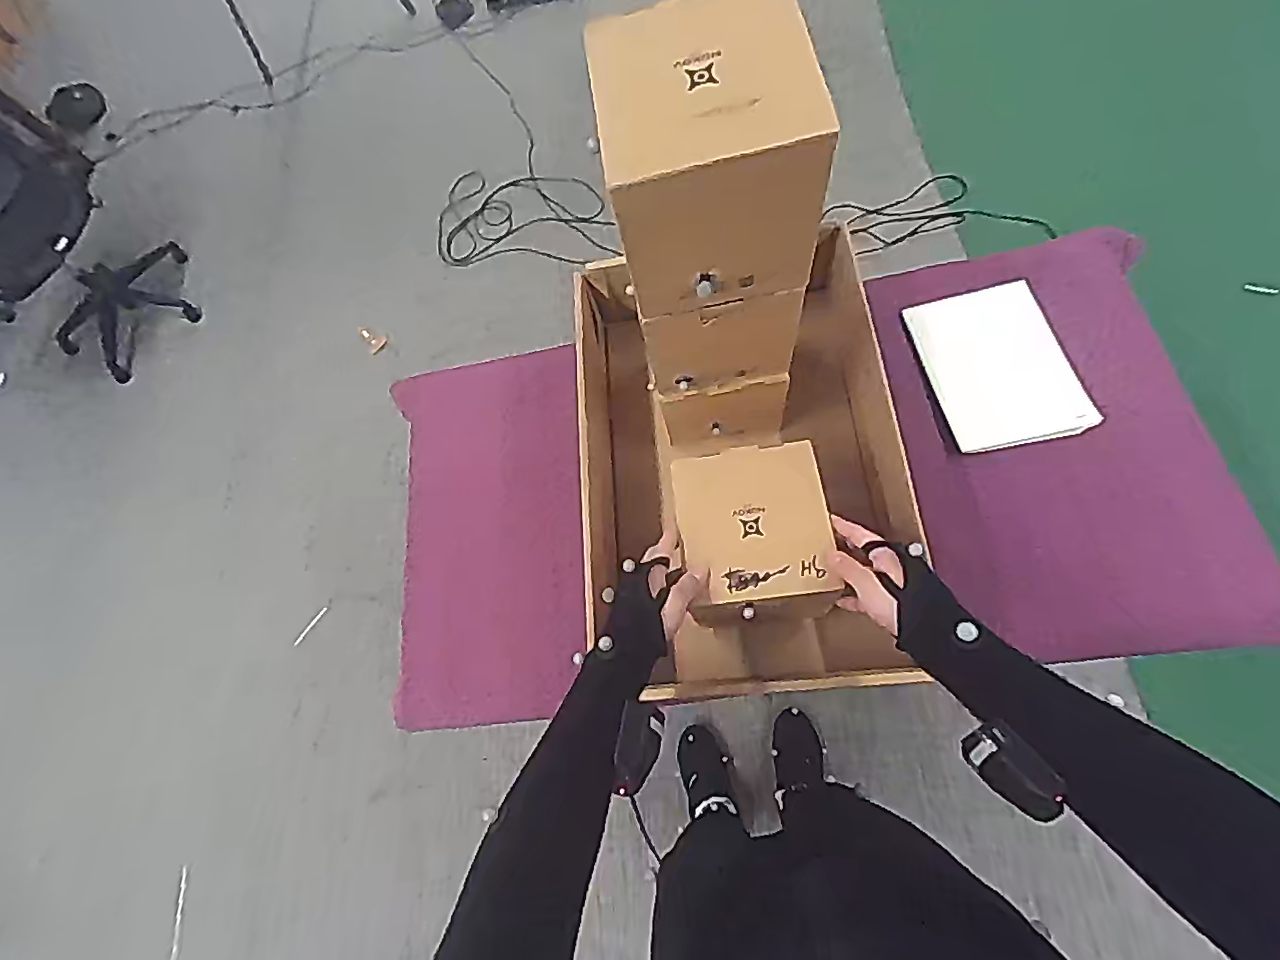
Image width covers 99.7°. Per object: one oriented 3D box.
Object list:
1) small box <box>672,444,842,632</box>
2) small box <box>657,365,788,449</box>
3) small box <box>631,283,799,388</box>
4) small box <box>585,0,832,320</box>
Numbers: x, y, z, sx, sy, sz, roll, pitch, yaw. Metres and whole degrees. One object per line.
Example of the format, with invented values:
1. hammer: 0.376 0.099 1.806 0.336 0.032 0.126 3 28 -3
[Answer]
1. small box: 0.137 0.079 0.665 0.168 0.176 0.179 -9 64 10
2. small box: 0.109 -0.164 0.785 0.168 0.176 0.179 -9 71 7
3. small box: 0.081 -0.223 0.634 0.168 0.176 0.179 -10 70 6
4. small box: 0.056 -0.274 0.482 0.168 0.176 0.179 -10 71 7
